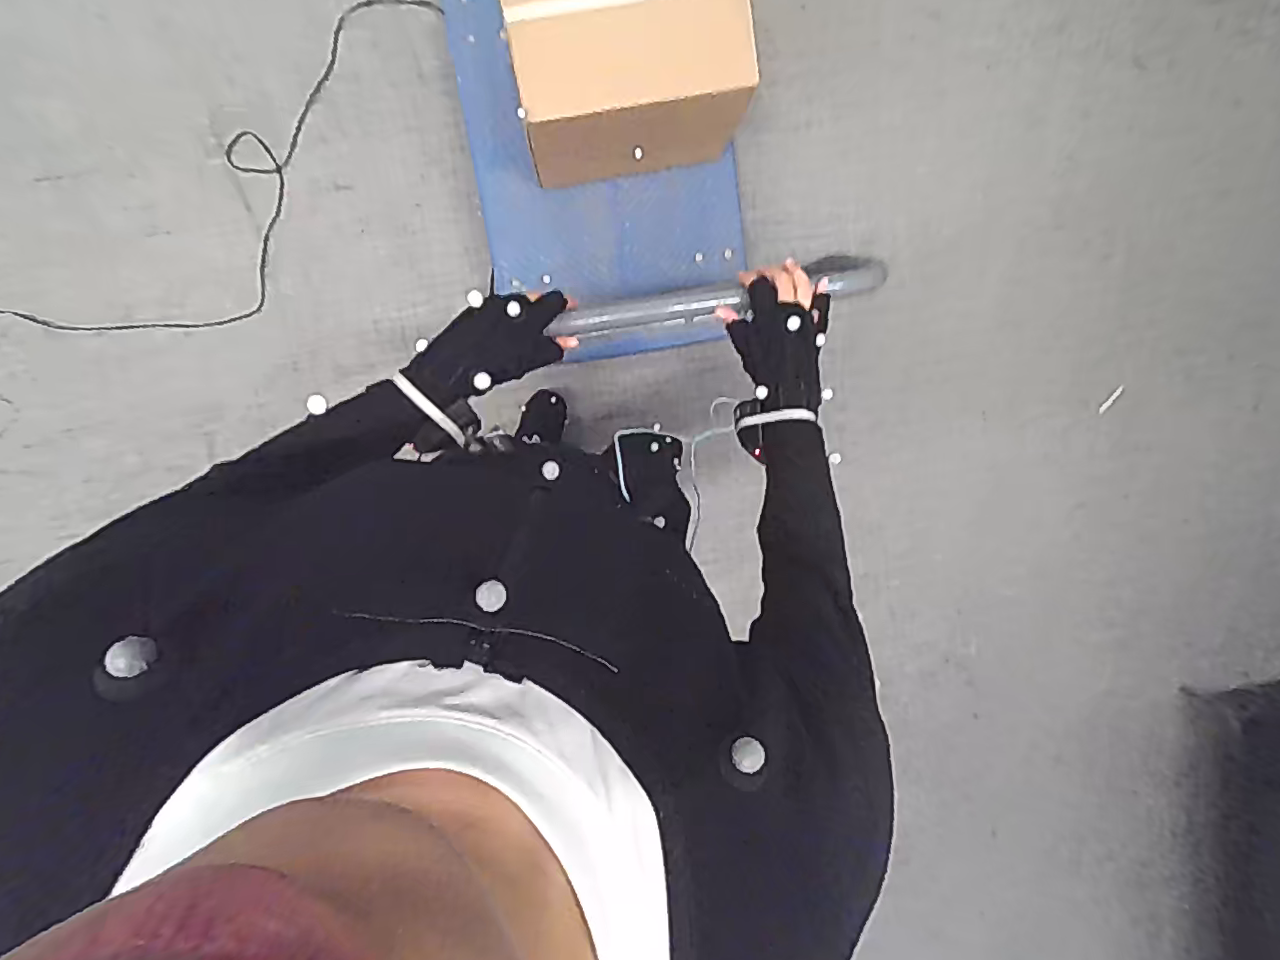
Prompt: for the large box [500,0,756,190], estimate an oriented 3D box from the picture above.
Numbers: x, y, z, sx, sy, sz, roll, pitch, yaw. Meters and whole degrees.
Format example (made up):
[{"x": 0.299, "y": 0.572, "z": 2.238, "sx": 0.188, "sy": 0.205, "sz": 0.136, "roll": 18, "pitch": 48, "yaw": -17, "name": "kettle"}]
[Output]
[{"x": -0.032, "y": -0.799, "z": 1.032, "sx": 0.408, "sy": 0.320, "sz": 0.320, "roll": -11, "pitch": 99, "yaw": -2, "name": "large box"}]
